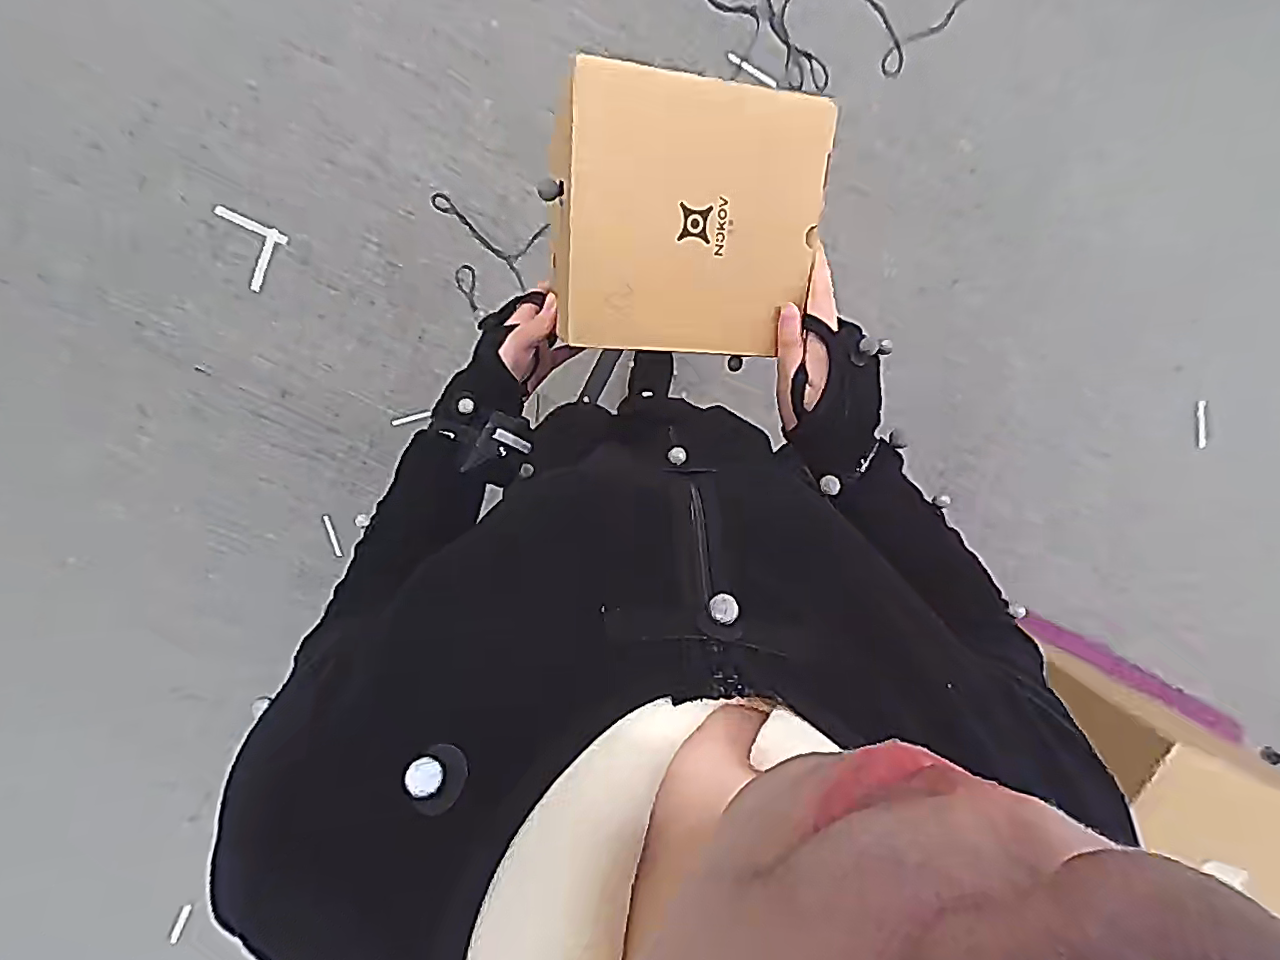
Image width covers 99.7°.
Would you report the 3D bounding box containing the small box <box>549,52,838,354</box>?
[{"bbox_3d":[0.021,-0.194,0.427,0.179,0.176,0.168,-1,108,-14],"label":"small box"}]
